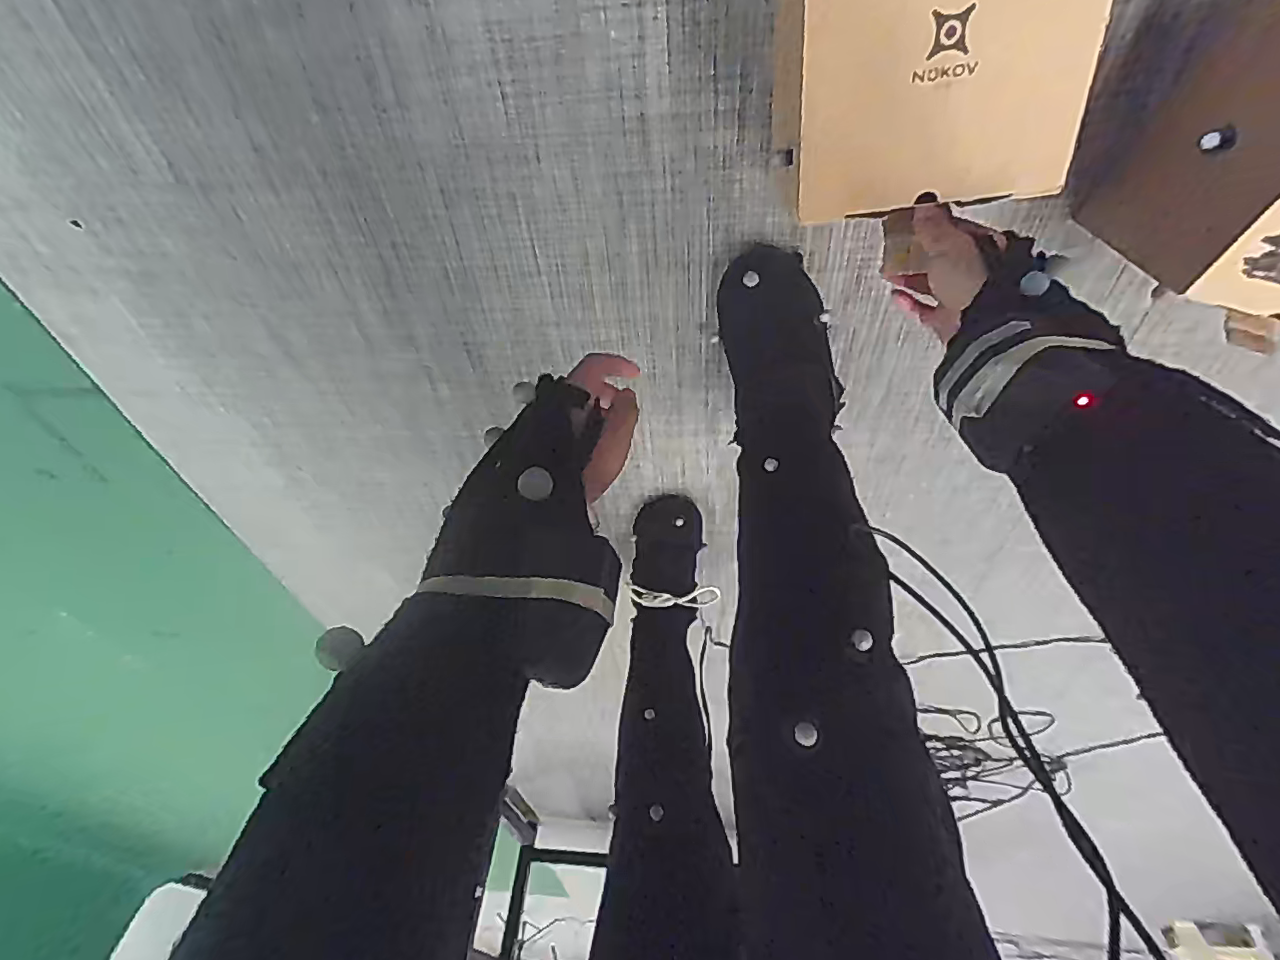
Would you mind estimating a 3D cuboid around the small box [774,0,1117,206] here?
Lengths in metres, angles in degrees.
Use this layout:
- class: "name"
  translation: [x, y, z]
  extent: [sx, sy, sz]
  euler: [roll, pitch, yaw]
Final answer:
- class: "small box"
  translation: [0.184, -0.301, 0.370]
  extent: [0.168, 0.176, 0.179]
  euler: [-3, 123, 9]
